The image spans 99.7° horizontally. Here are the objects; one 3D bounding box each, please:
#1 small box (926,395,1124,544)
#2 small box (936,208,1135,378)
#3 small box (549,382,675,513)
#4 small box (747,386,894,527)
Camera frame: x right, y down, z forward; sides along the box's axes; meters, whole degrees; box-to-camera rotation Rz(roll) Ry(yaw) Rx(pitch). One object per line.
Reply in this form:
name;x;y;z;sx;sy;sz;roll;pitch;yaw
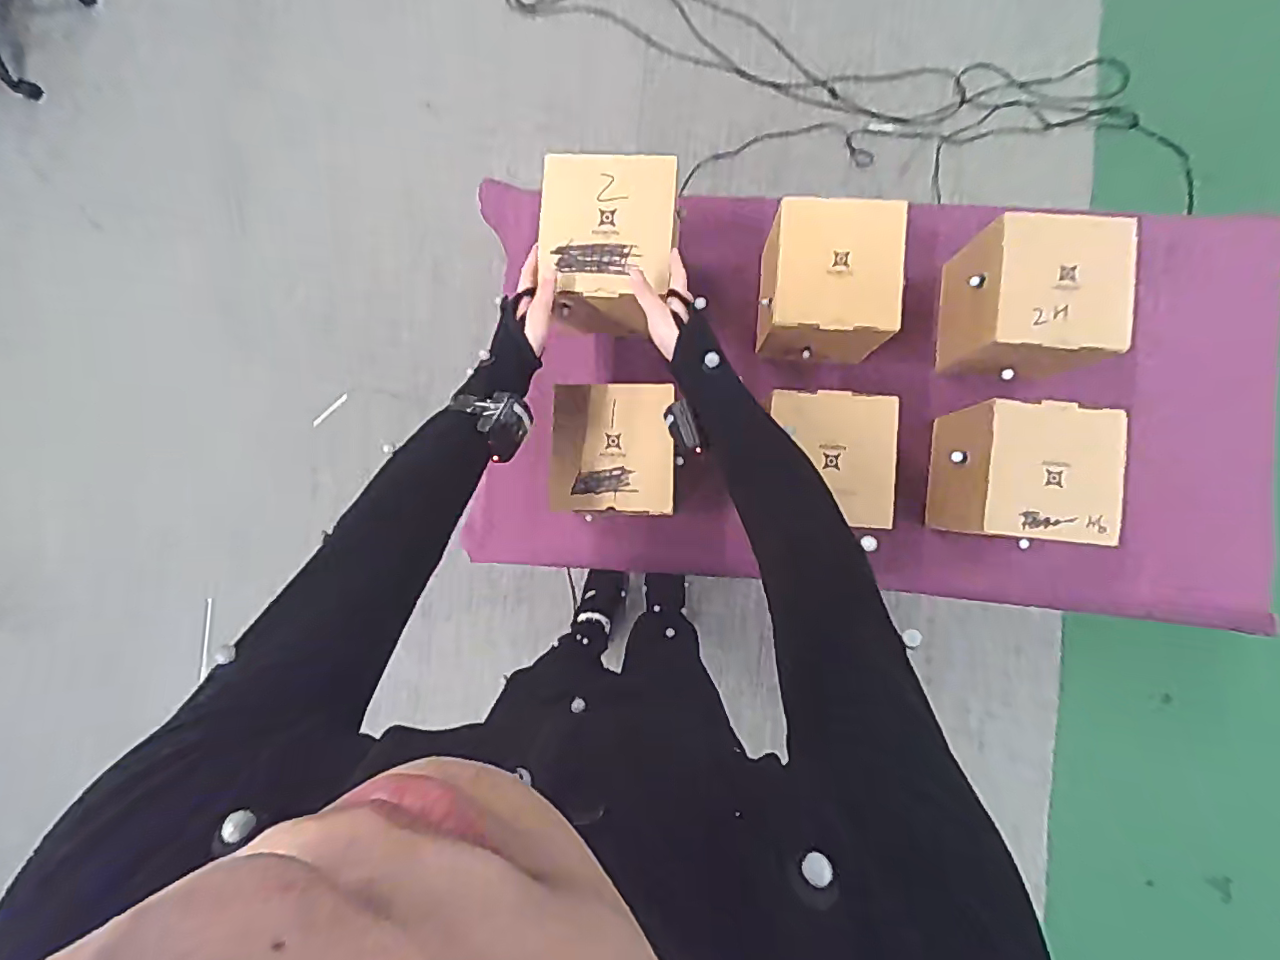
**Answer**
small box;0.527;-0.009;0.763;0.168;0.176;0.179;6;87;5
small box;0.548;-0.256;0.771;0.168;0.176;0.179;6;89;5
small box;-0.034;-0.041;0.808;0.168;0.176;0.179;1;86;4
small box;0.252;-0.028;0.788;0.168;0.176;0.179;5;88;6
